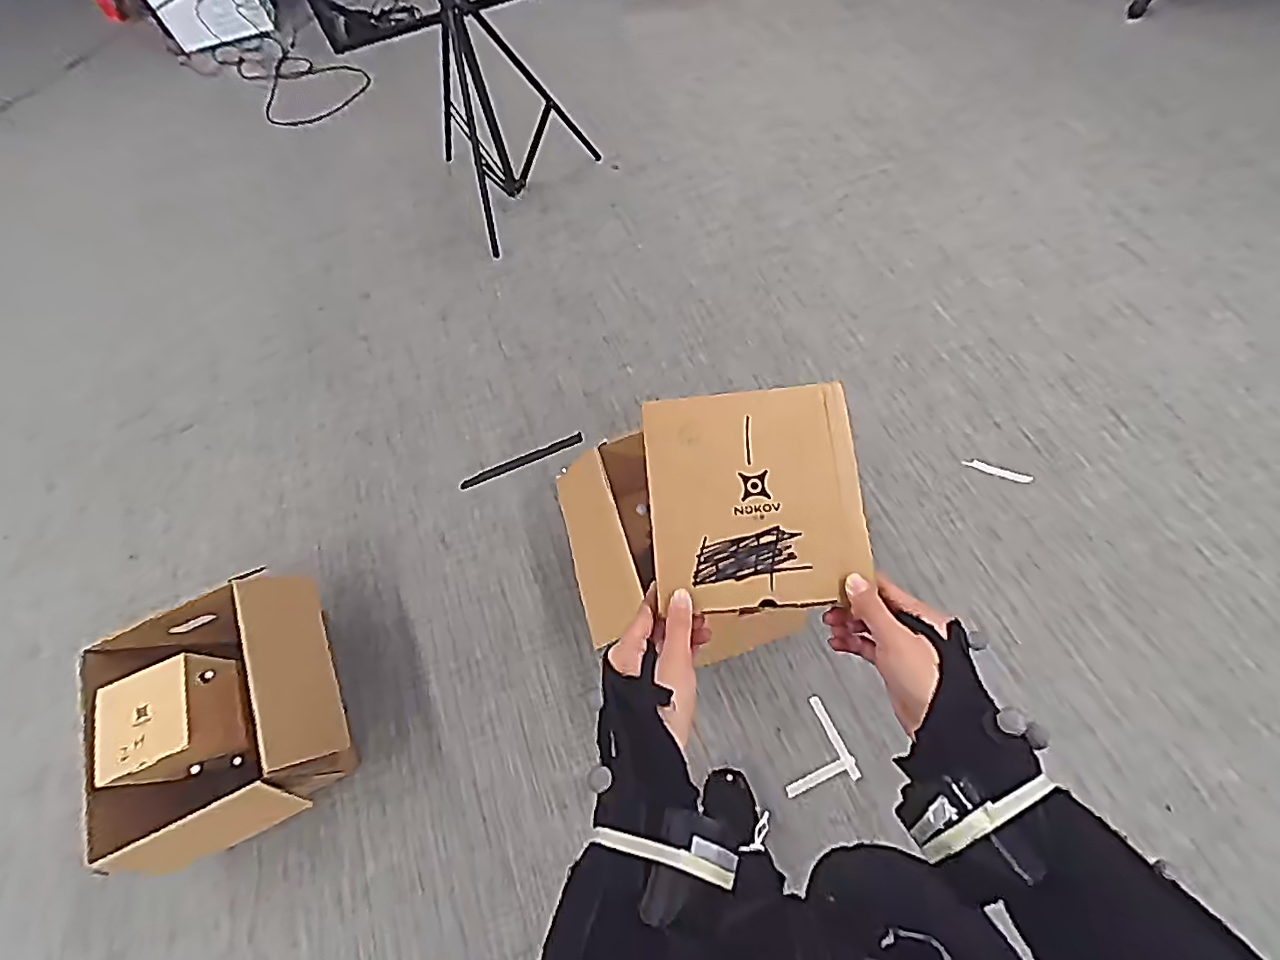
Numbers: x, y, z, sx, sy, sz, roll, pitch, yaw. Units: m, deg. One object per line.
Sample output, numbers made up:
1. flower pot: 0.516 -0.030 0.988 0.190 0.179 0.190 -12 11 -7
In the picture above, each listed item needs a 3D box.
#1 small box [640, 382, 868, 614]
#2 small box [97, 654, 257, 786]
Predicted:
1. small box: 0.093 0.027 0.505 0.168 0.176 0.179 -5 77 3
2. small box: -0.883 0.463 1.045 0.168 0.176 0.179 -24 65 -5
